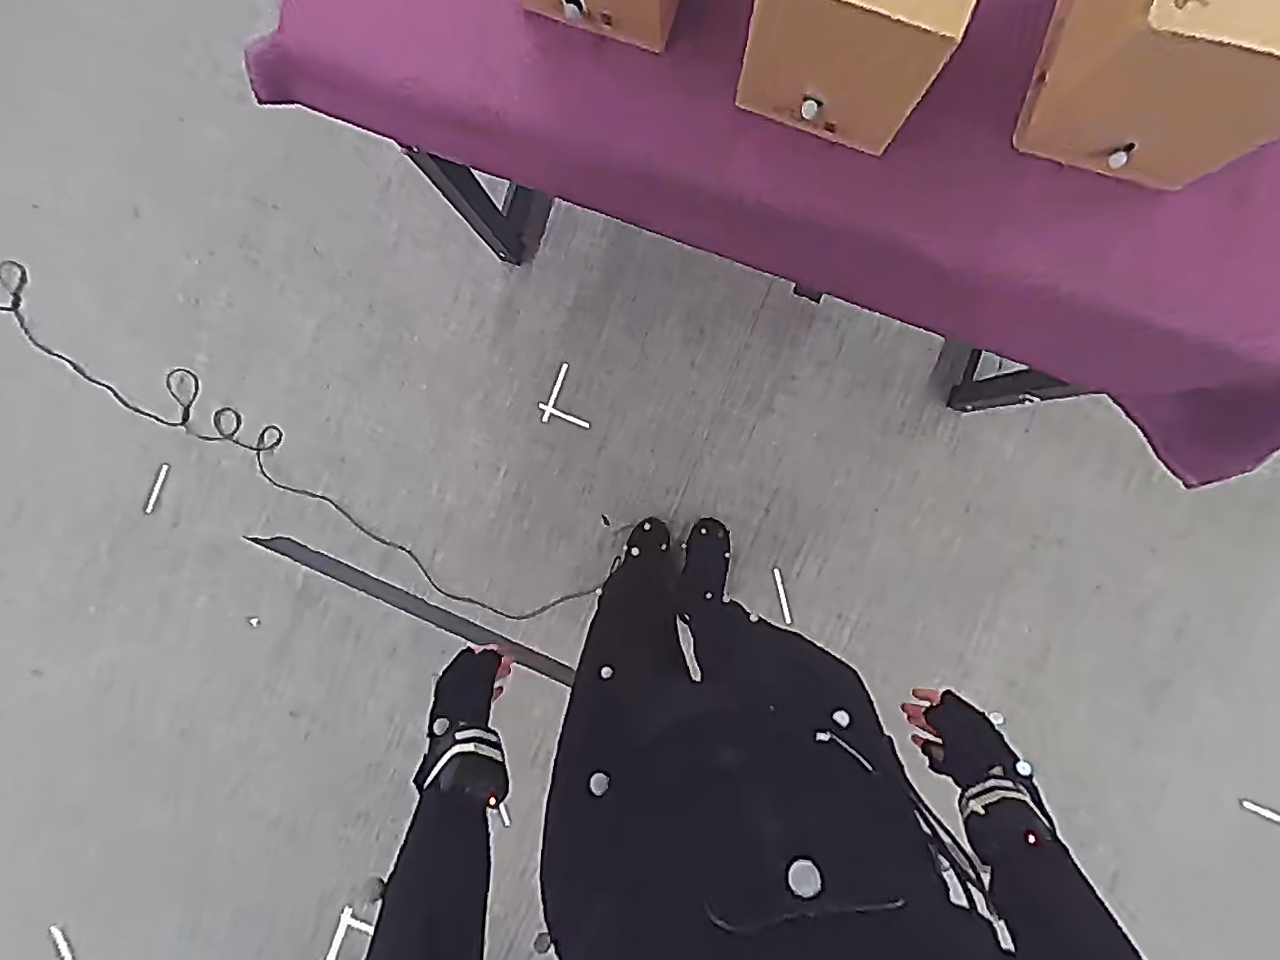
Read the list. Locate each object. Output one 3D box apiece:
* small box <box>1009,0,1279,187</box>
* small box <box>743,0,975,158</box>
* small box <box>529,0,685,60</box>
[{"bbox_3d":[0.489,-0.397,0.487,0.179,0.176,0.168,17,93,2],"label":"small box"},{"bbox_3d":[0.206,-0.448,0.500,0.168,0.176,0.179,21,94,3],"label":"small box"},{"bbox_3d":[-0.028,-0.561,0.511,0.168,0.176,0.179,18,94,3],"label":"small box"}]
